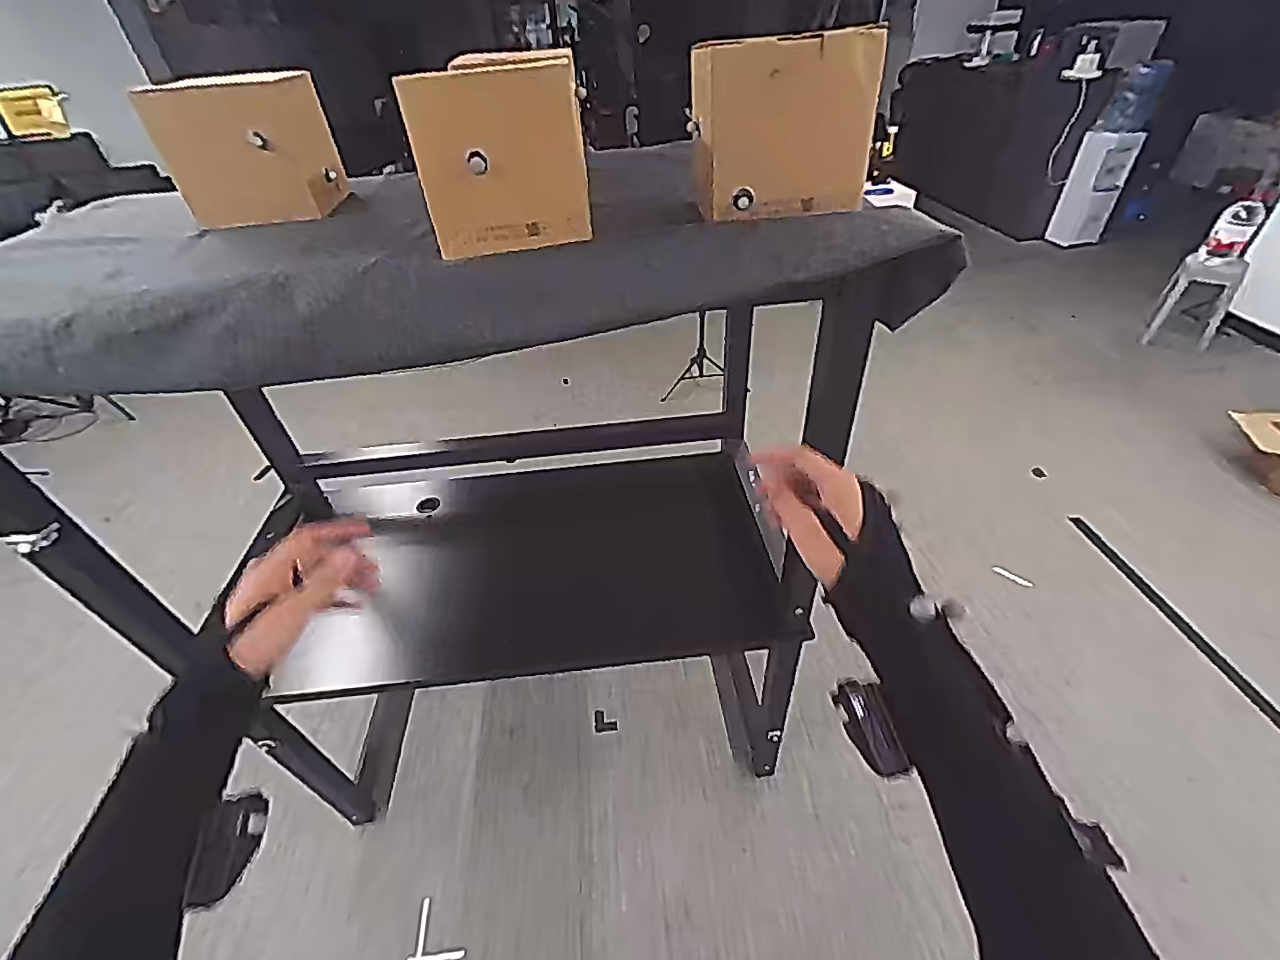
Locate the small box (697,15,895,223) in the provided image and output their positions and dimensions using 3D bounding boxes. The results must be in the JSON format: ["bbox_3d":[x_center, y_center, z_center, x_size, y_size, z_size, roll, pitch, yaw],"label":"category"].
[{"bbox_3d":[0.157,-0.395,0.605,0.168,0.176,0.179,-5,37,1],"label":"small box"}]

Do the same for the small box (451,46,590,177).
[{"bbox_3d":[-0.167,-0.539,0.813,0.168,0.176,0.179,-7,40,-2],"label":"small box"}]

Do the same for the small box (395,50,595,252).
[{"bbox_3d":[-0.143,-0.361,0.601,0.168,0.176,0.179,-7,38,-3],"label":"small box"}]
